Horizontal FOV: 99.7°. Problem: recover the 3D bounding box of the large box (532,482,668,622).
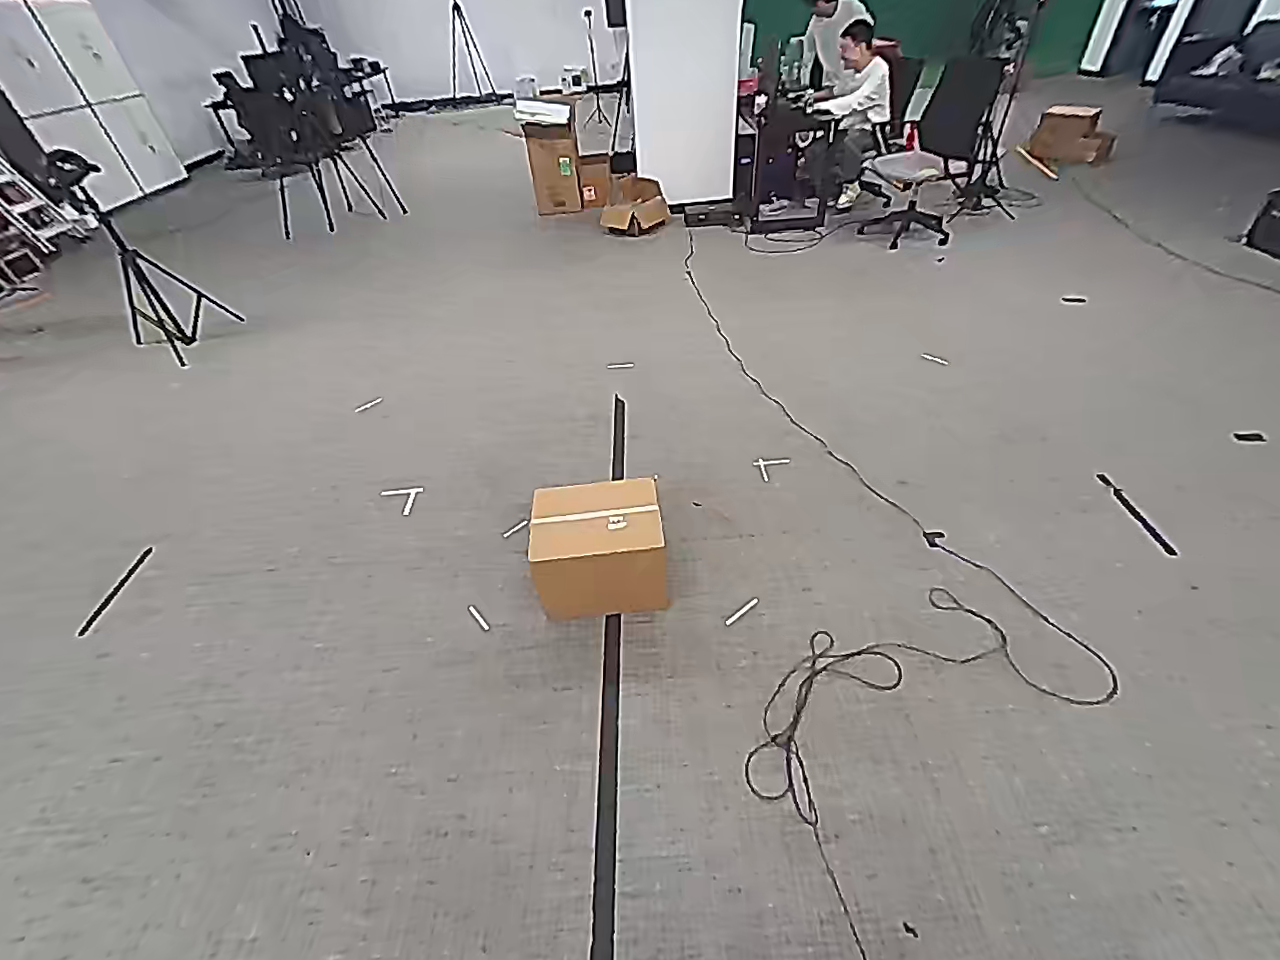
[{"bbox_3d":[-0.127,0.237,1.784,0.408,0.320,0.320,-6,42,-1],"label":"large box"}]
